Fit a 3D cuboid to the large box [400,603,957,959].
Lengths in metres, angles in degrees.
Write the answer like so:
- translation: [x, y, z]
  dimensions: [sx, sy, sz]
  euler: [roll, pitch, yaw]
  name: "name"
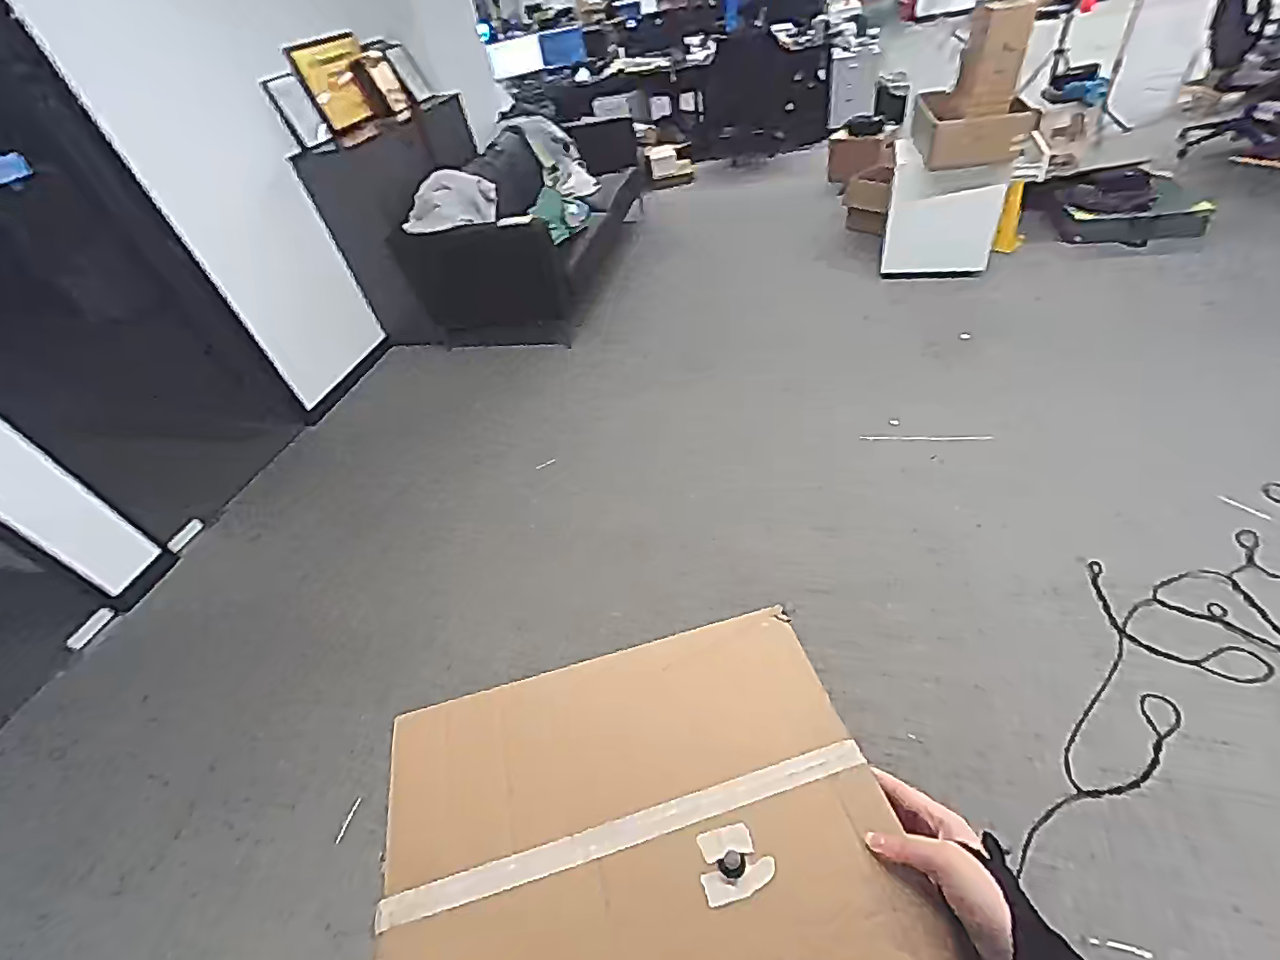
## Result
- translation: [0.008, 0.387, 0.563]
  dimensions: [0.408, 0.320, 0.320]
  euler: [-13, 46, -8]
  name: "large box"
